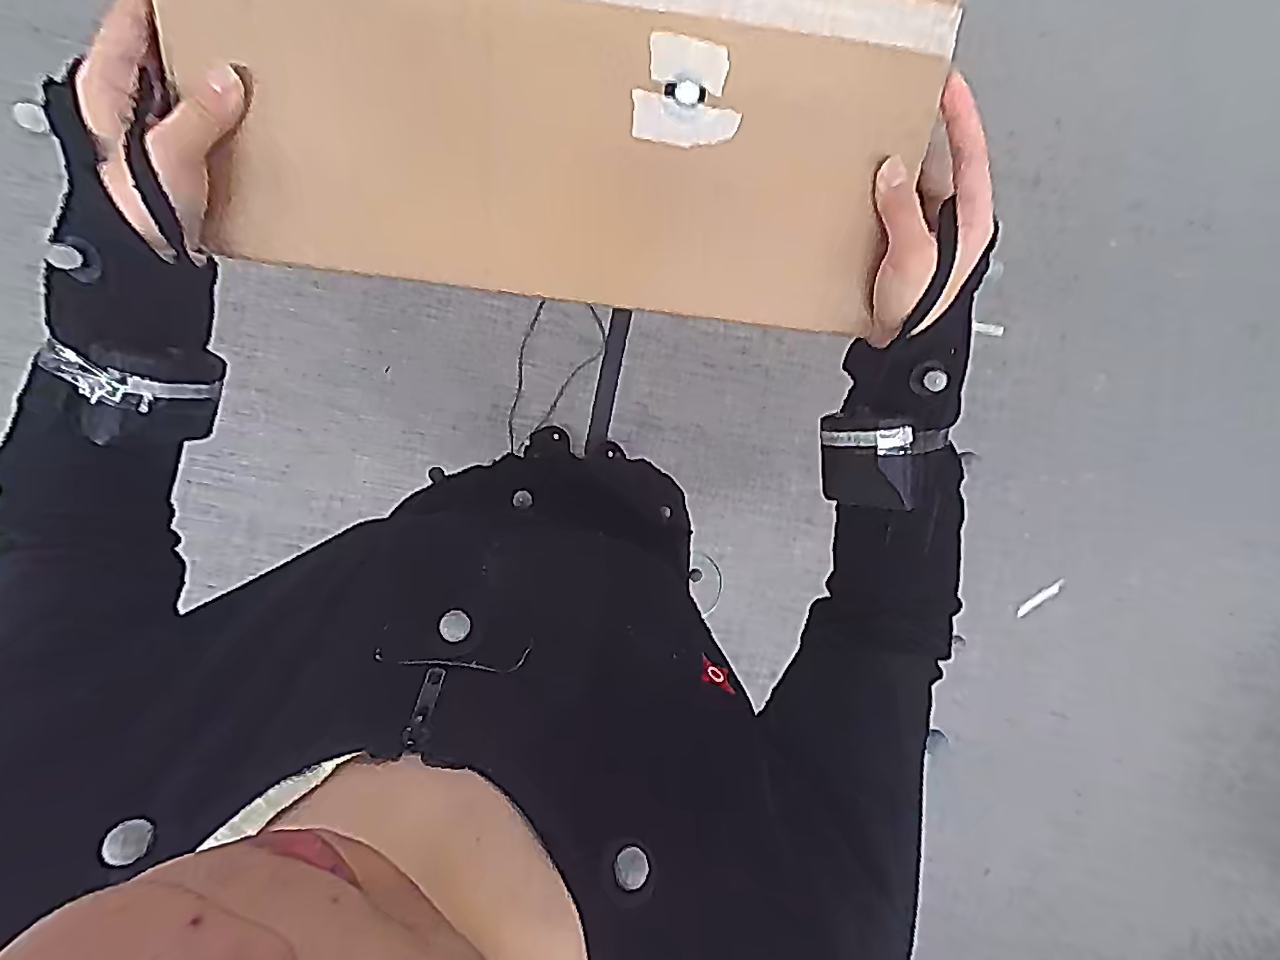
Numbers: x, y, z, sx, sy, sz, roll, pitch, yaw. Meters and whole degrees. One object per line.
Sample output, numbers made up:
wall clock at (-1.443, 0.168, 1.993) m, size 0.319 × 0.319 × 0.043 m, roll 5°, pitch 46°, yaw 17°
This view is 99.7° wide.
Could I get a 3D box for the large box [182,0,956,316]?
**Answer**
large box at (-0.037, -0.320, 0.412) m, size 0.408 × 0.320 × 0.320 m, roll 6°, pitch 114°, yaw -5°
